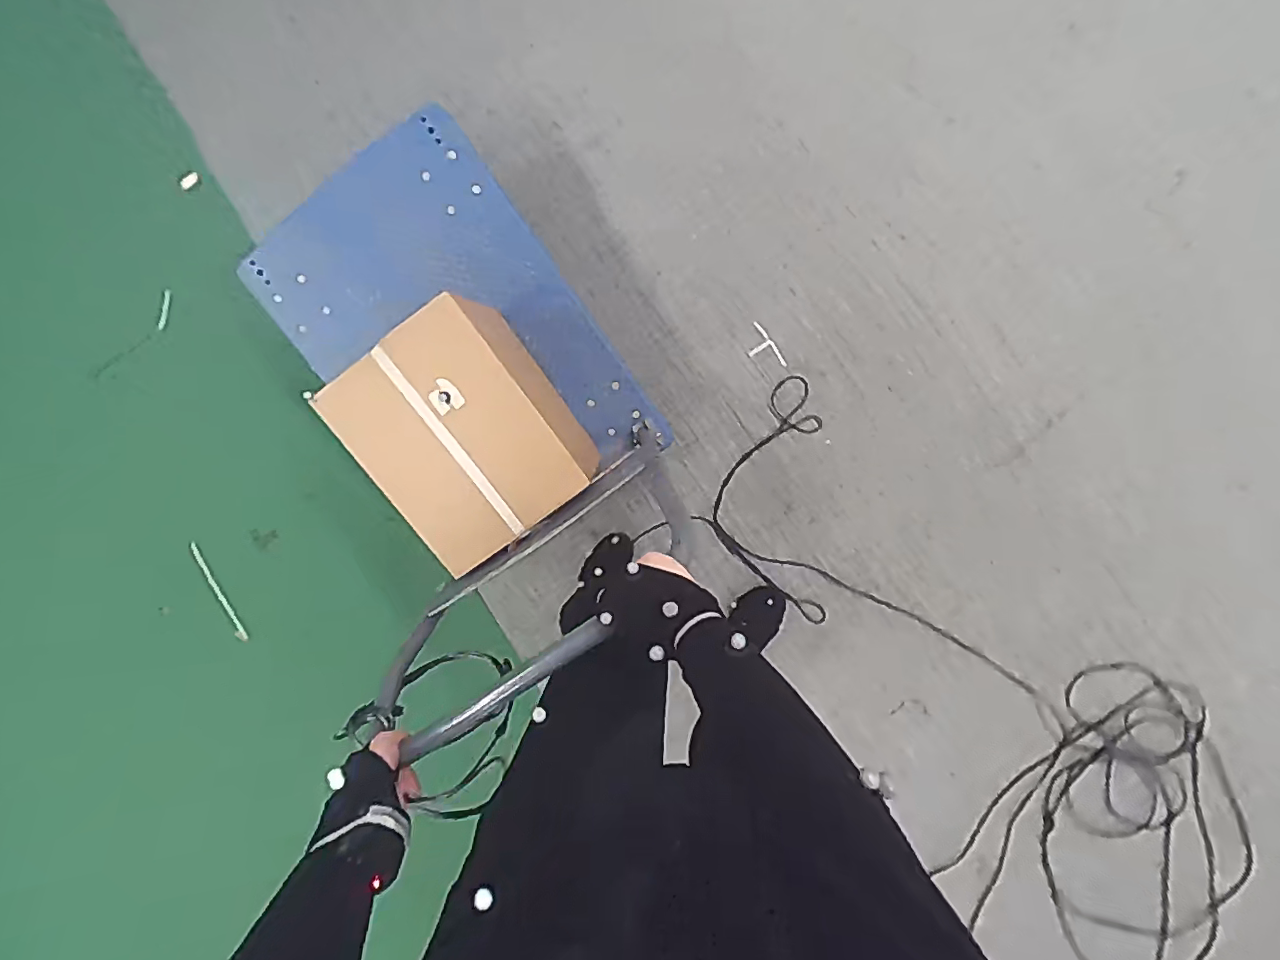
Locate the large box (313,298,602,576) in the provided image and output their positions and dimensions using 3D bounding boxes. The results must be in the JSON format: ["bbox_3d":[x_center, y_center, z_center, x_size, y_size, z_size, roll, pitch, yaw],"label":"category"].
[{"bbox_3d":[-0.325,-0.091,1.090,0.320,0.320,0.408,-35,99,6],"label":"large box"}]
